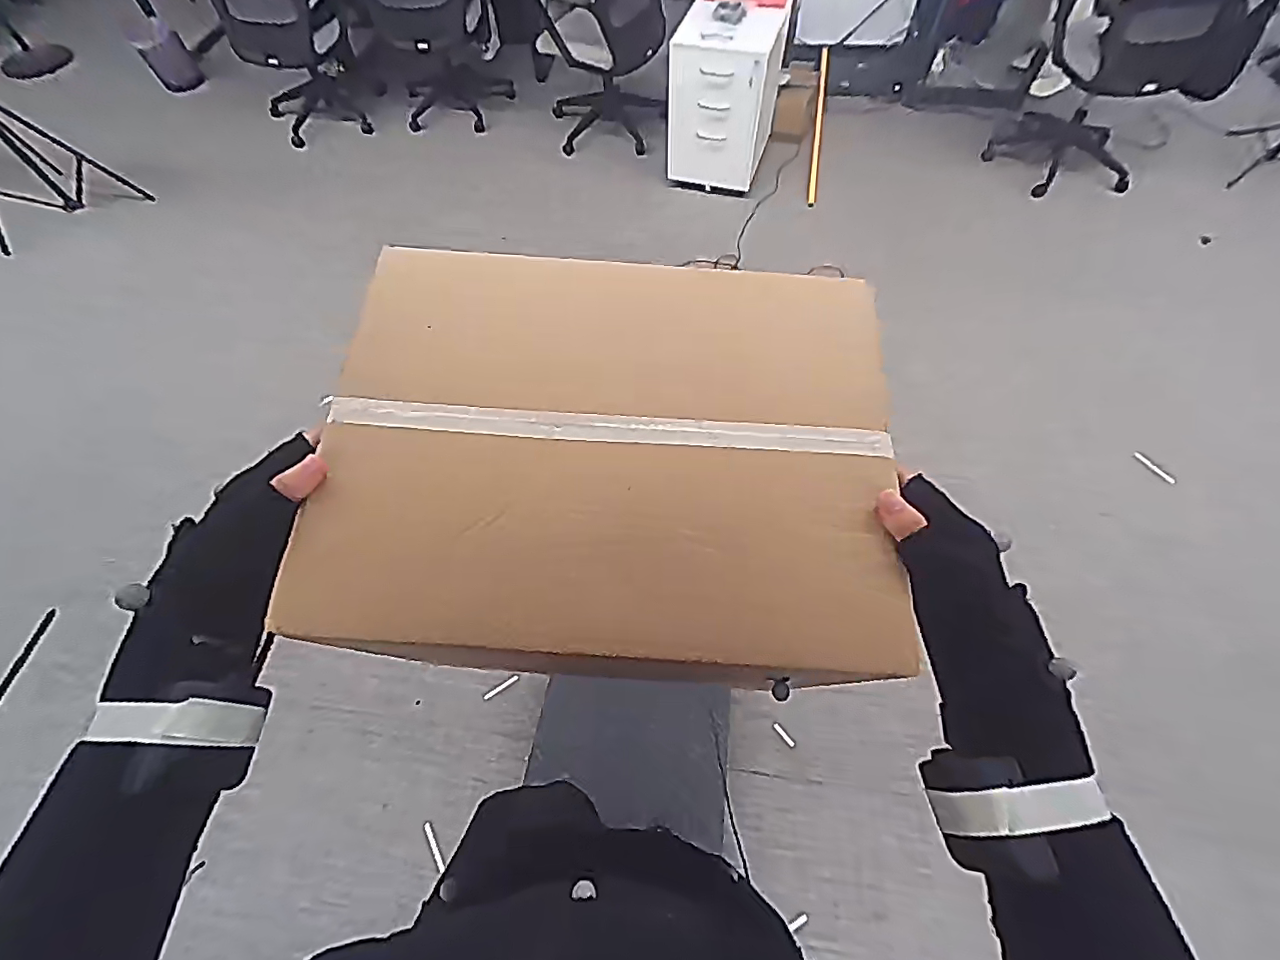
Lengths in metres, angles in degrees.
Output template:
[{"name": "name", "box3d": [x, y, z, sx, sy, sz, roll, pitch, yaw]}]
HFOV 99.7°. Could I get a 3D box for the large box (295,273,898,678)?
[{"name": "large box", "box3d": [-0.022, 0.028, 0.544, 0.408, 0.320, 0.320, 4, 67, 0]}]
